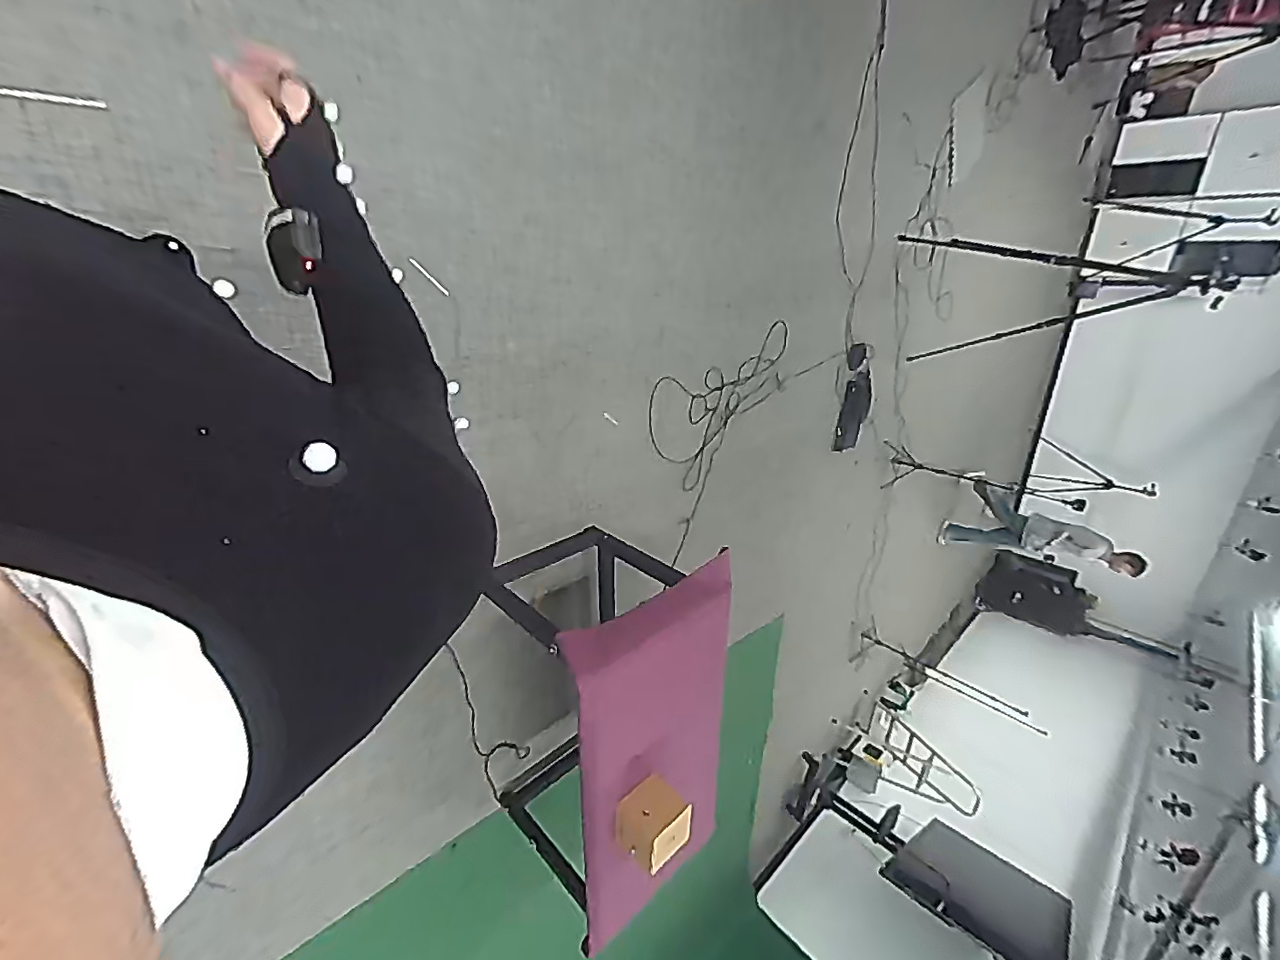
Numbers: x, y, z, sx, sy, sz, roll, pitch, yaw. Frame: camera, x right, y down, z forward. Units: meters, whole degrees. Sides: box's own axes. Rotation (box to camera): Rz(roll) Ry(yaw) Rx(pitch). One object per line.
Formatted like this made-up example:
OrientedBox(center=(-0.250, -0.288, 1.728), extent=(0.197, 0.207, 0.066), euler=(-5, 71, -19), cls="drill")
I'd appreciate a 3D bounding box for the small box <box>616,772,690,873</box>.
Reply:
OrientedBox(center=(0.037, 1.094, 1.742), extent=(0.179, 0.176, 0.168), euler=(-18, 119, -42), cls="small box")
